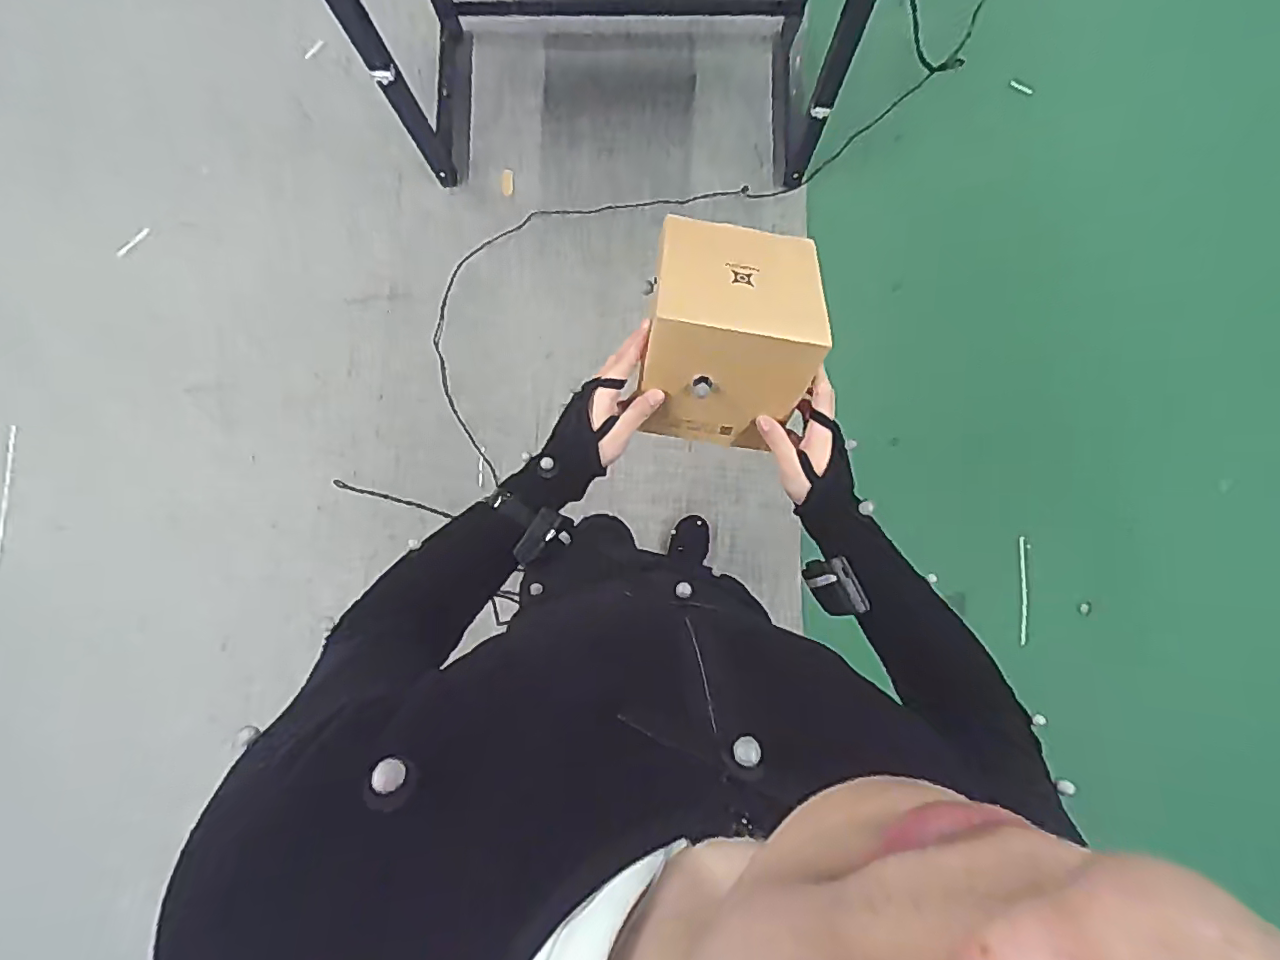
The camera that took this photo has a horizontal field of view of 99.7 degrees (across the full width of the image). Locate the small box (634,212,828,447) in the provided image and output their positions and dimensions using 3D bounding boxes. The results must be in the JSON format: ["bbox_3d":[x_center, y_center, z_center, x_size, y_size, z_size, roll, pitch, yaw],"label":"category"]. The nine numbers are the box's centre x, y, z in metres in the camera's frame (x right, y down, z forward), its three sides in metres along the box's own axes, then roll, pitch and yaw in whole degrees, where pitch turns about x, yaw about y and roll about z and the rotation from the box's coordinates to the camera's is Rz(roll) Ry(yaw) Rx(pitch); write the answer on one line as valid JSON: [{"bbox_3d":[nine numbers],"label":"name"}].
[{"bbox_3d":[0.087,-0.158,0.593,0.168,0.176,0.179,8,54,-4],"label":"small box"}]
